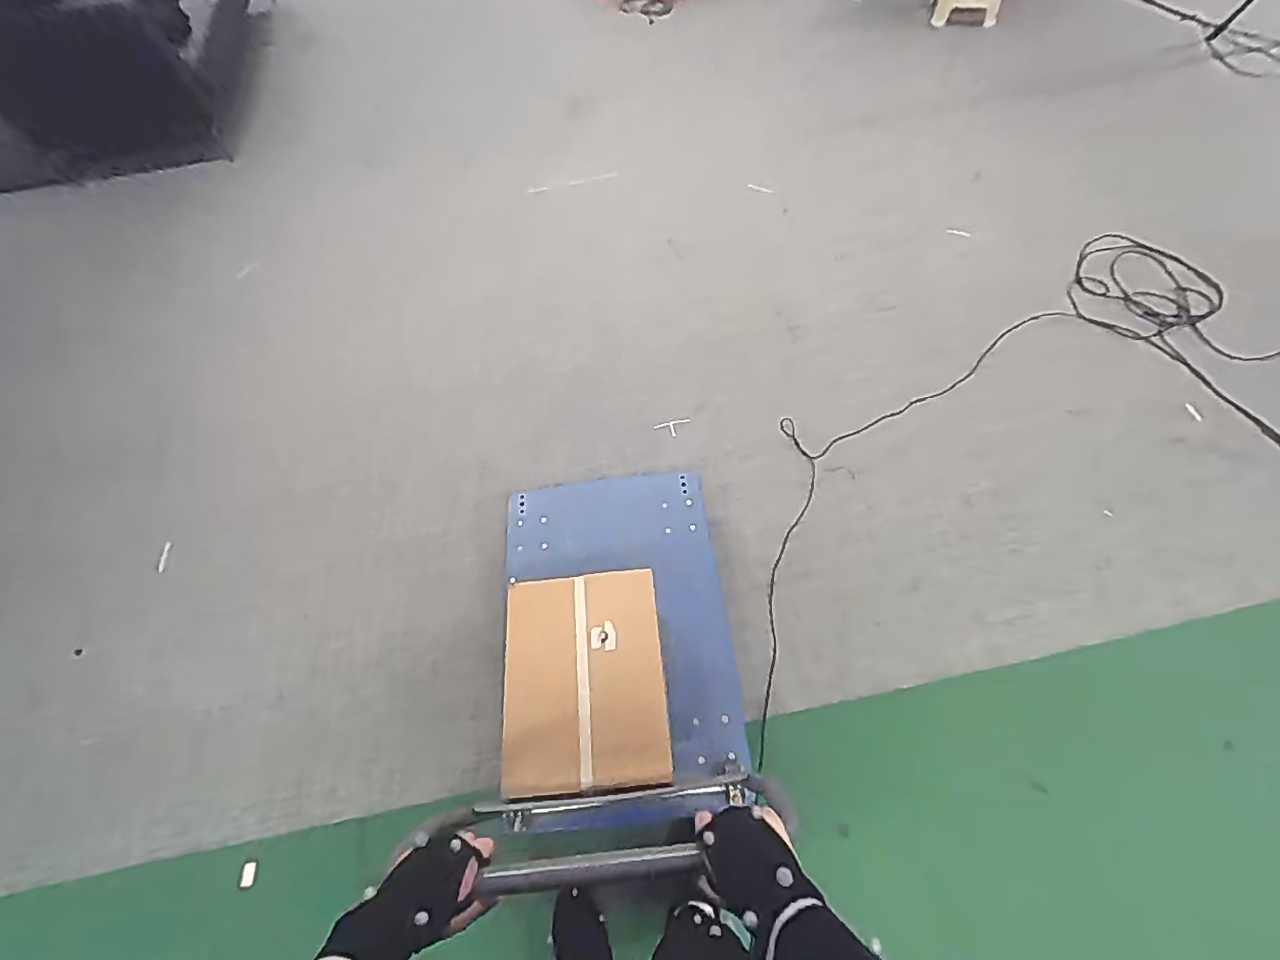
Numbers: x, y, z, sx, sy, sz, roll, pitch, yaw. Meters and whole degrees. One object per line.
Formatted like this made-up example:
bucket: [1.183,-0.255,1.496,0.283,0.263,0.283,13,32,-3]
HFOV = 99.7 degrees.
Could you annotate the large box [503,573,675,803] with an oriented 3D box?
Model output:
large box: [-0.103,0.462,1.191,0.320,0.320,0.408,-6,59,0]
